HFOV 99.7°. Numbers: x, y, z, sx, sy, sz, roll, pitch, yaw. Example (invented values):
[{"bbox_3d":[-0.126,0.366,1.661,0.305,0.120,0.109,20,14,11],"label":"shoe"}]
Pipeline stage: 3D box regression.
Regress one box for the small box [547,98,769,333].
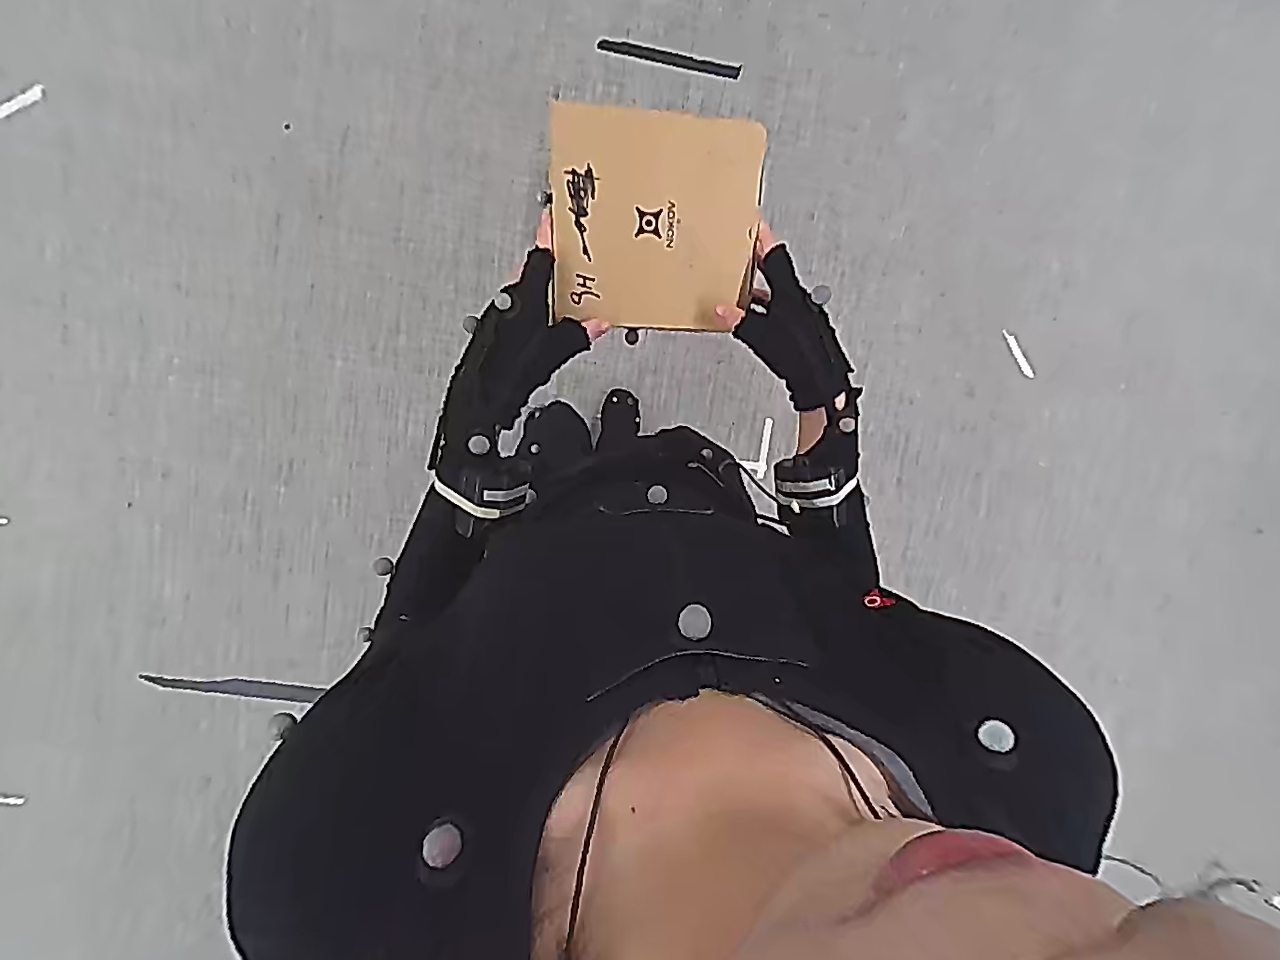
[{"bbox_3d":[0.002,-0.232,0.521,0.179,0.176,0.168,0,105,-11],"label":"small box"}]
